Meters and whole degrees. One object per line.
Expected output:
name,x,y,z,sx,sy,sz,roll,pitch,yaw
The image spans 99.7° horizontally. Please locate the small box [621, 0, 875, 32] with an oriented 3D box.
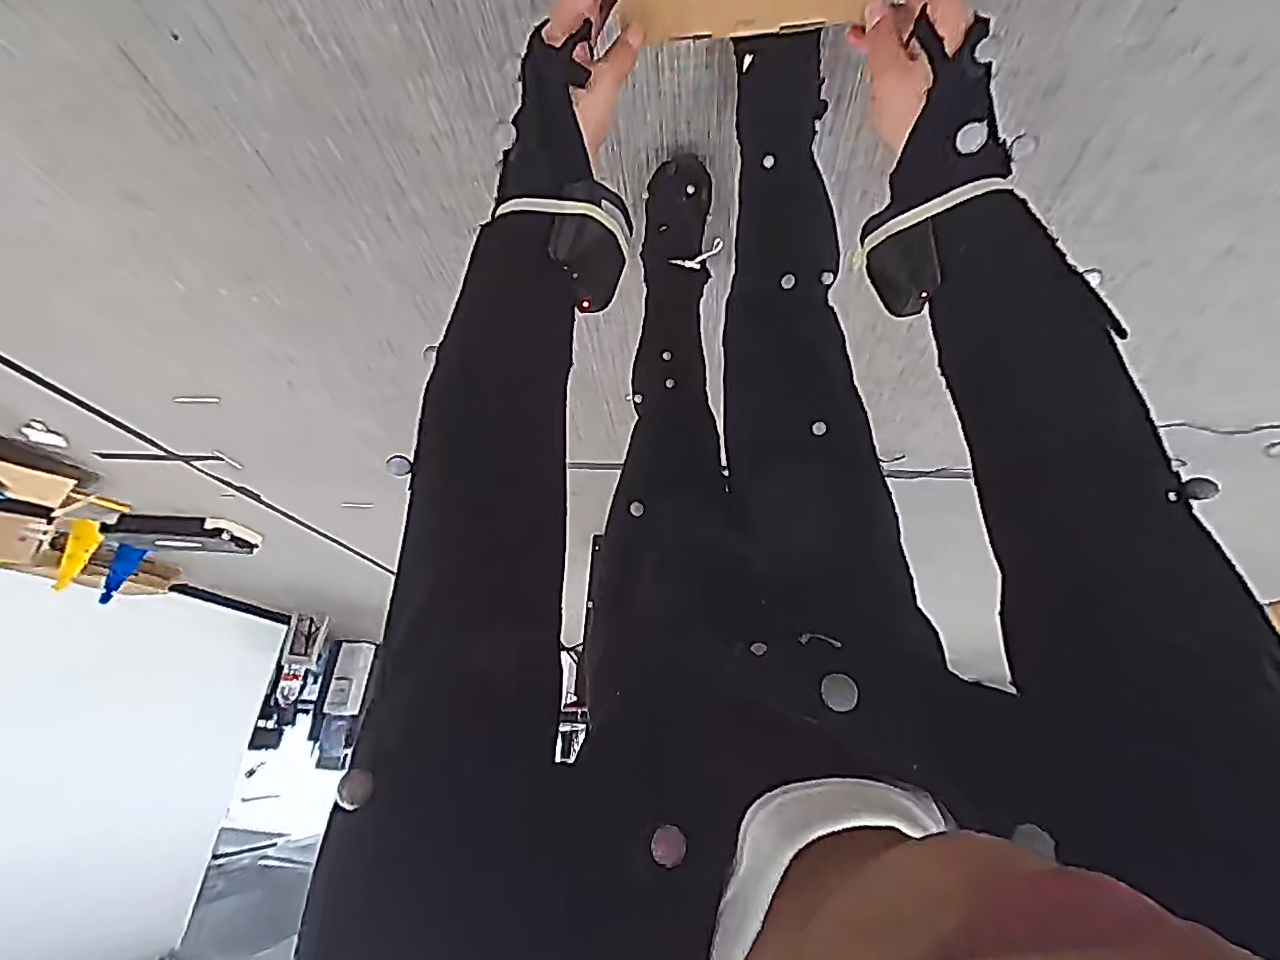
small box,0.066,-0.415,0.320,0.168,0.176,0.179,1,152,8
